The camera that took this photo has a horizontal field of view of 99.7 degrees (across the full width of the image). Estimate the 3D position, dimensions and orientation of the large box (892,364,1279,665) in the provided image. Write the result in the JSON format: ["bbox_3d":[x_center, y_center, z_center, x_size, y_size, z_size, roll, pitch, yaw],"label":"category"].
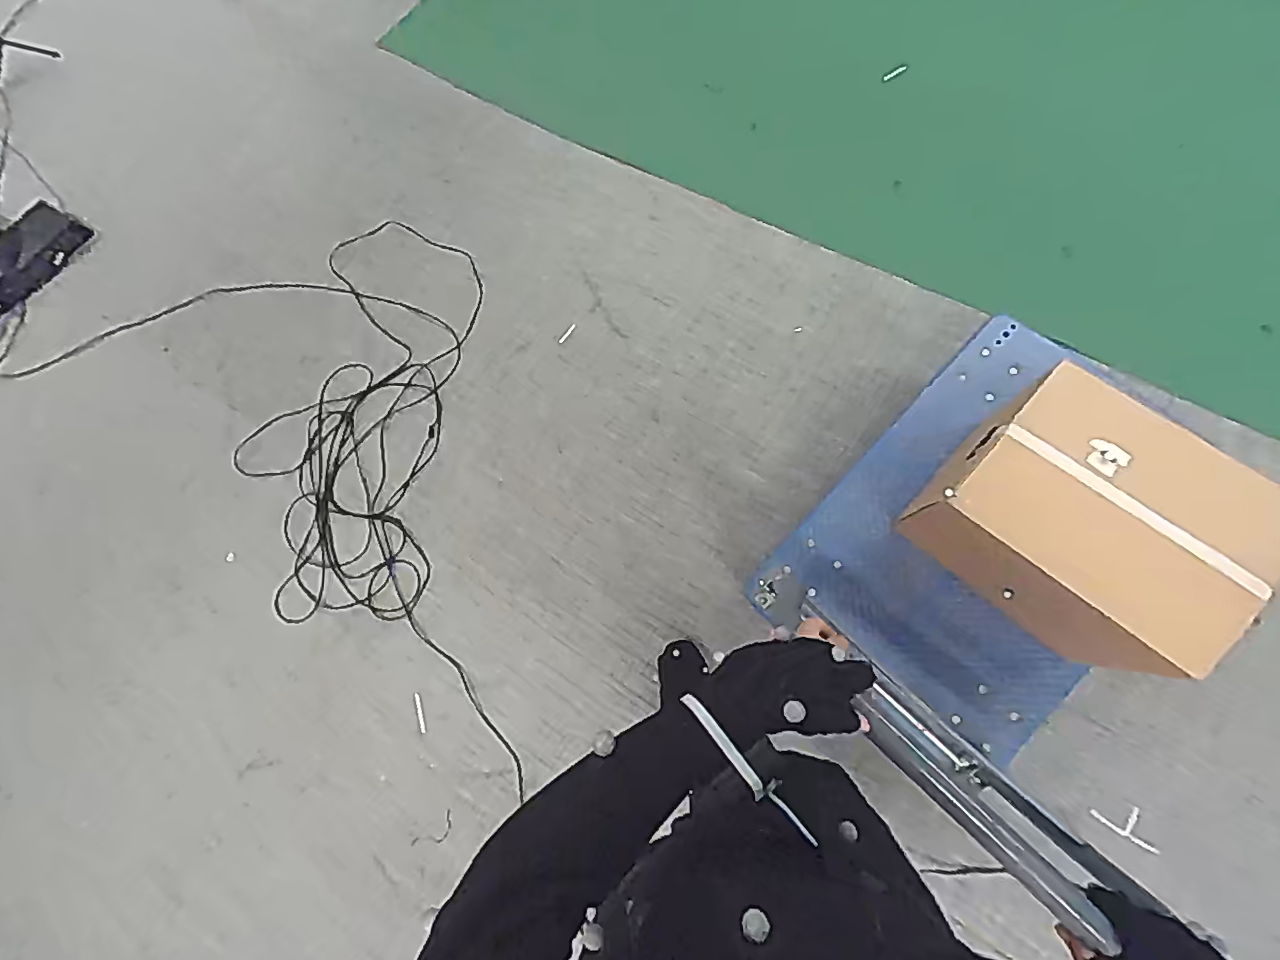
[{"bbox_3d":[0.757,0.070,0.983,0.408,0.320,0.320,39,86,17],"label":"large box"}]
